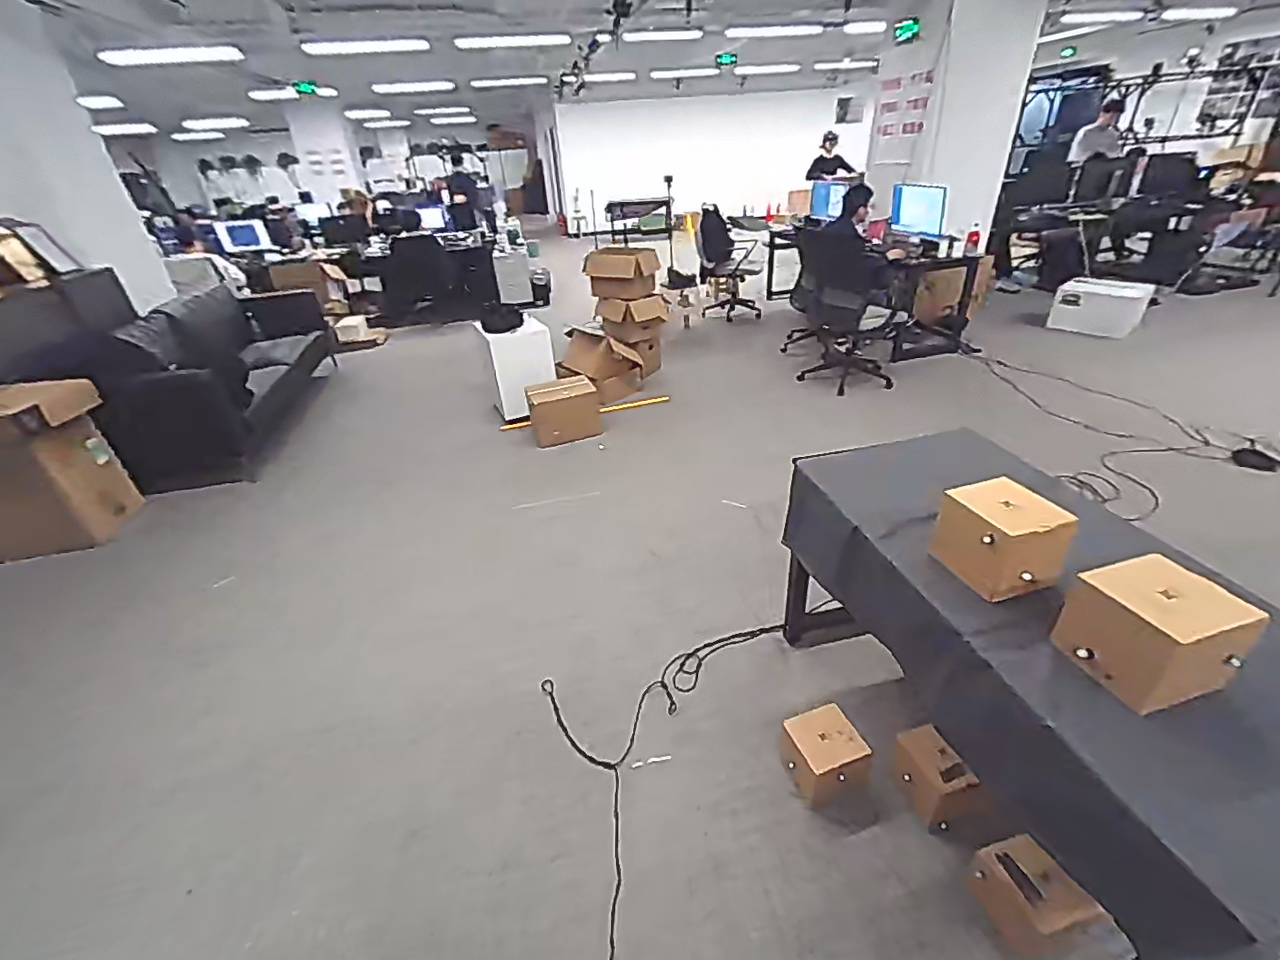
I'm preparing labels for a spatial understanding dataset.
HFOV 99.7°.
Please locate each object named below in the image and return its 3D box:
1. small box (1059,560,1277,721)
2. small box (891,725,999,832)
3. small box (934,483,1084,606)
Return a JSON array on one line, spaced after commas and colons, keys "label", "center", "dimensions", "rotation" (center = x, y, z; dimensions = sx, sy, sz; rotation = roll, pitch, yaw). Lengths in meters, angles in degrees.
[{"label": "small box", "center": [0.848, 0.262, 0.892], "dimensions": [0.179, 0.176, 0.168], "rotation": [-11, 31, -11]}, {"label": "small box", "center": [0.795, 0.792, 1.427], "dimensions": [0.168, 0.176, 0.179], "rotation": [-10, 30, -10]}, {"label": "small box", "center": [0.749, 0.132, 1.123], "dimensions": [0.168, 0.176, 0.179], "rotation": [-12, 32, -13]}]
